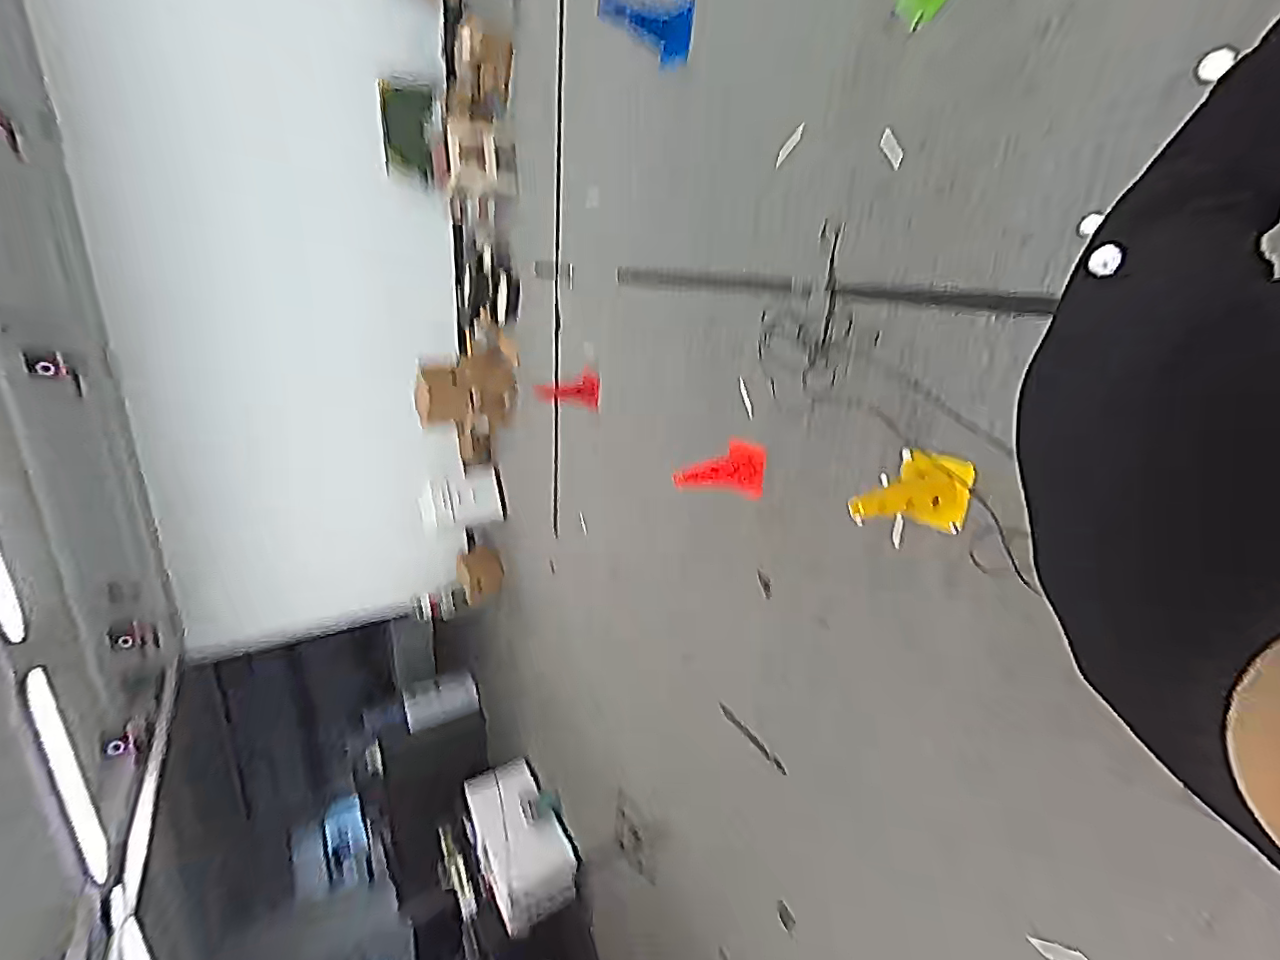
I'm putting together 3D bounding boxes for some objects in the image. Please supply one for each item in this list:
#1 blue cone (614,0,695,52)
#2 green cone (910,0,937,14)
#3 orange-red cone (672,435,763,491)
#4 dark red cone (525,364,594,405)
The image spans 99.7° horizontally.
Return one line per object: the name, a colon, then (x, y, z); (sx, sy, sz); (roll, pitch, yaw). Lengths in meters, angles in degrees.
blue cone: (0.017, -1.816, 2.069); (0.193, 0.380, 0.192); (35, 124, 48)
green cone: (0.606, -1.303, 1.250); (0.200, 0.368, 0.202); (-33, 69, 54)
orange-red cone: (0.274, -0.045, 2.070); (0.199, 0.360, 0.198); (26, 120, 50)
dark red cone: (-0.454, -0.533, 3.030); (0.202, 0.394, 0.201); (38, 127, 47)
